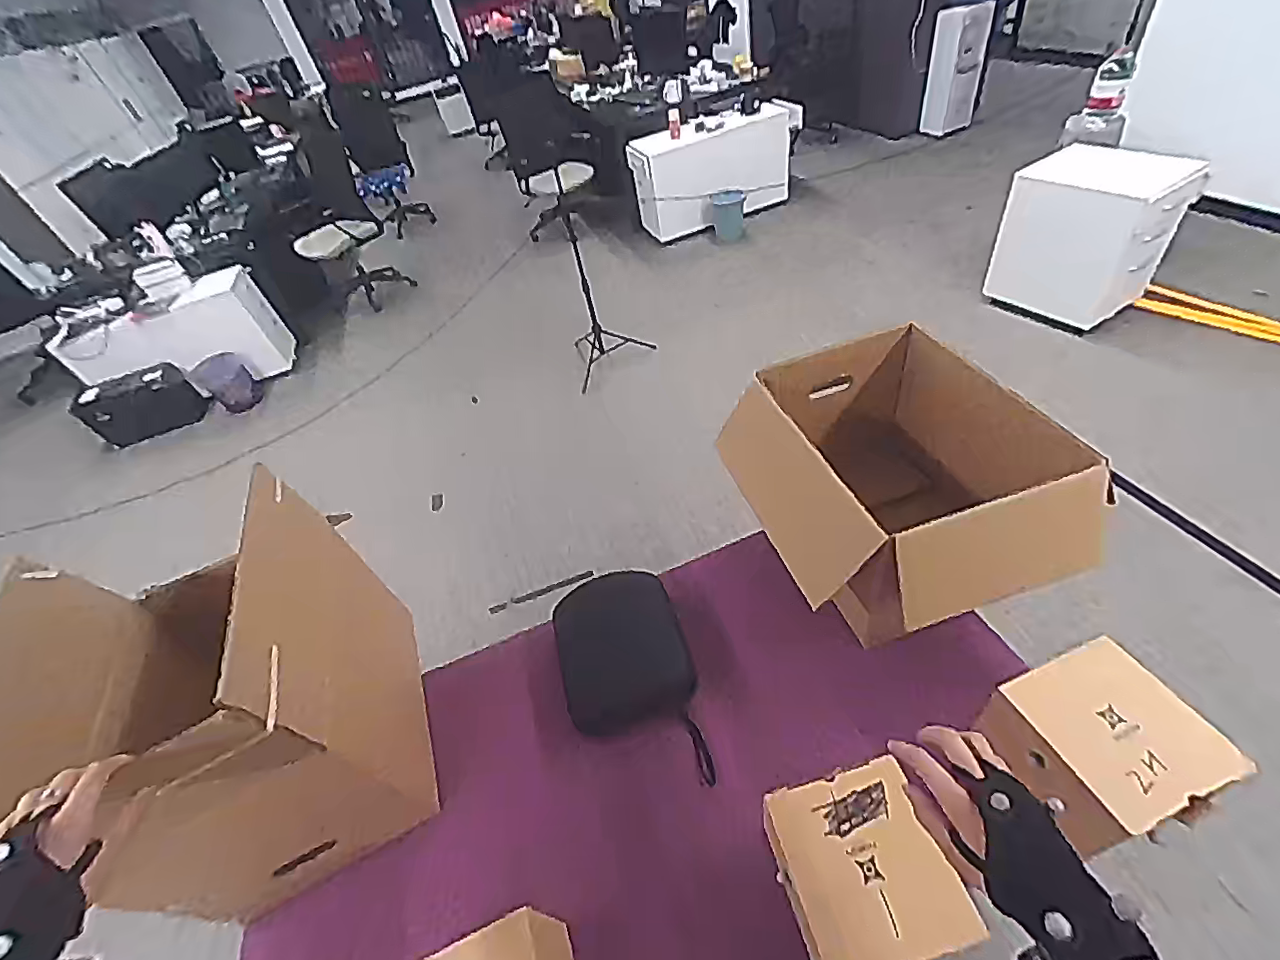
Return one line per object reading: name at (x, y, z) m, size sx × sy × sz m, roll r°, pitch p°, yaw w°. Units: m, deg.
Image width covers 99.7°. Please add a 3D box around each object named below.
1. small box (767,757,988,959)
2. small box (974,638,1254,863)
small box at (0.257, 0.464, 0.639) m, size 0.168 × 0.176 × 0.179 m, roll -17°, pitch 46°, yaw -2°
small box at (0.563, 0.339, 0.678) m, size 0.168 × 0.176 × 0.179 m, roll -22°, pitch 45°, yaw -6°
